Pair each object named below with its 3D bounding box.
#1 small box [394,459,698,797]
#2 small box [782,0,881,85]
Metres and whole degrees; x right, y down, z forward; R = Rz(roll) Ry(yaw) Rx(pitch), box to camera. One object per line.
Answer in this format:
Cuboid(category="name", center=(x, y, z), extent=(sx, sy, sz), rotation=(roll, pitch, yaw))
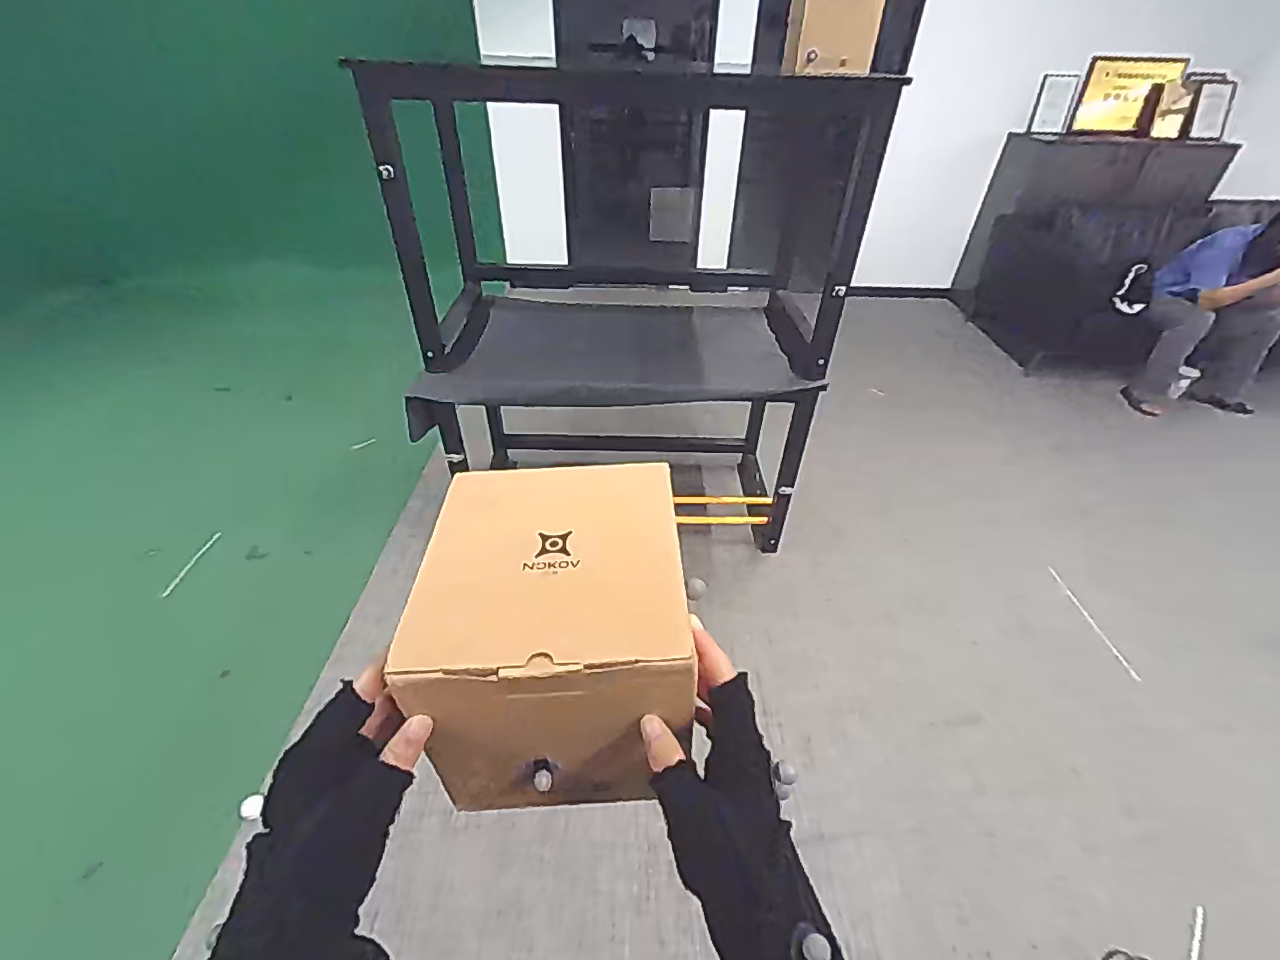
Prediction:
Cuboid(category="small box", center=(-0.052, 0.103, 0.400), extent=(0.168, 0.176, 0.179), rotation=(-3, 37, -1))
Cuboid(category="small box", center=(0.429, -1.005, 1.229), extent=(0.168, 0.176, 0.179), rotation=(3, 37, 1))
